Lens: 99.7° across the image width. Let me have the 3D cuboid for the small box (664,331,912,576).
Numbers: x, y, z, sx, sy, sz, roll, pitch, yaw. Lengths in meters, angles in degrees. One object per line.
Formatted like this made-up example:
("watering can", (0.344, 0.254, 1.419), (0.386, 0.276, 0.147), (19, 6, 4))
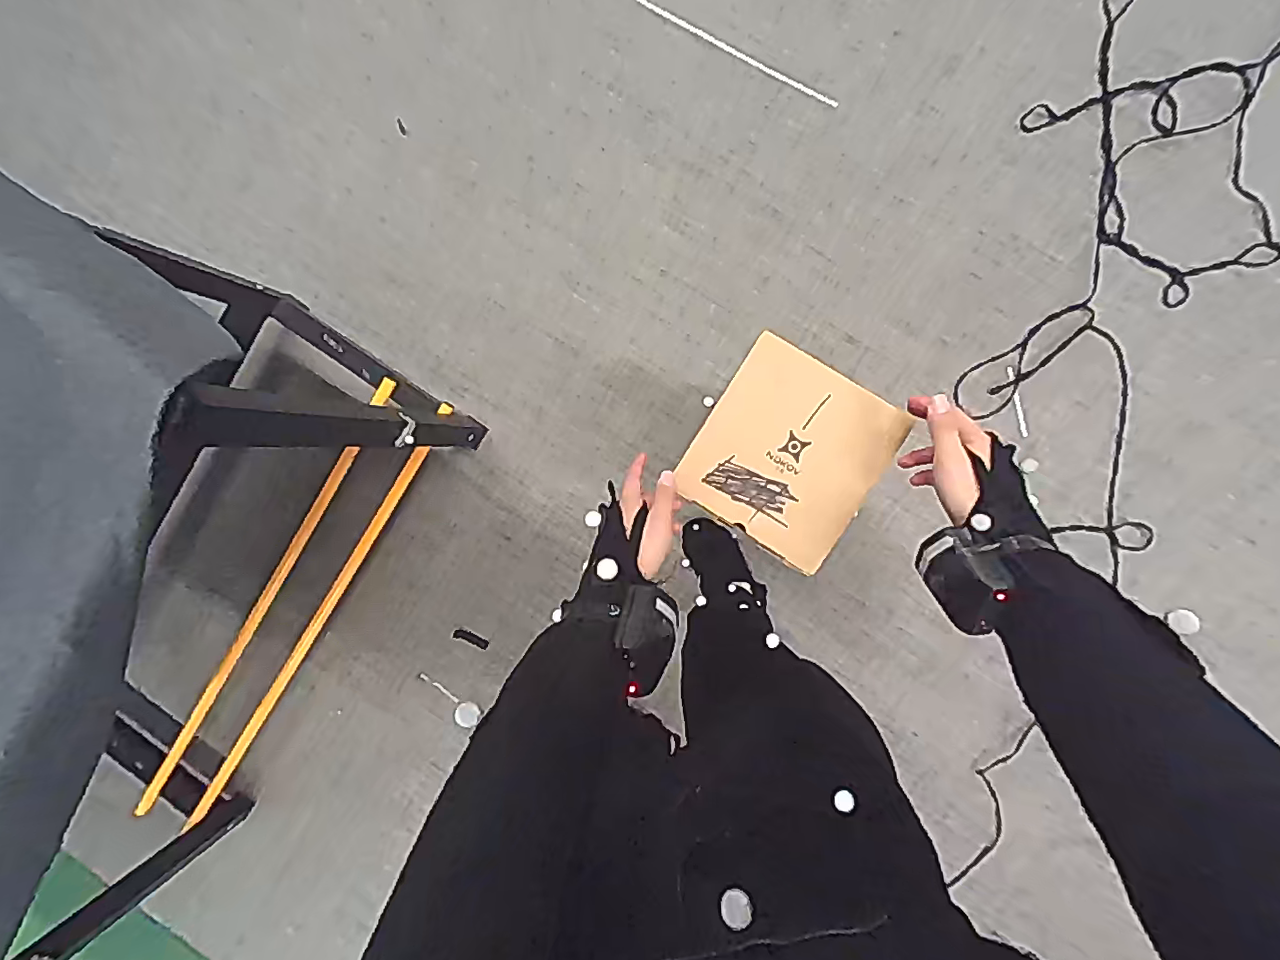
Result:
("small box", (0.145, -0.027, 0.582), (0.168, 0.176, 0.179), (33, 95, 4))
